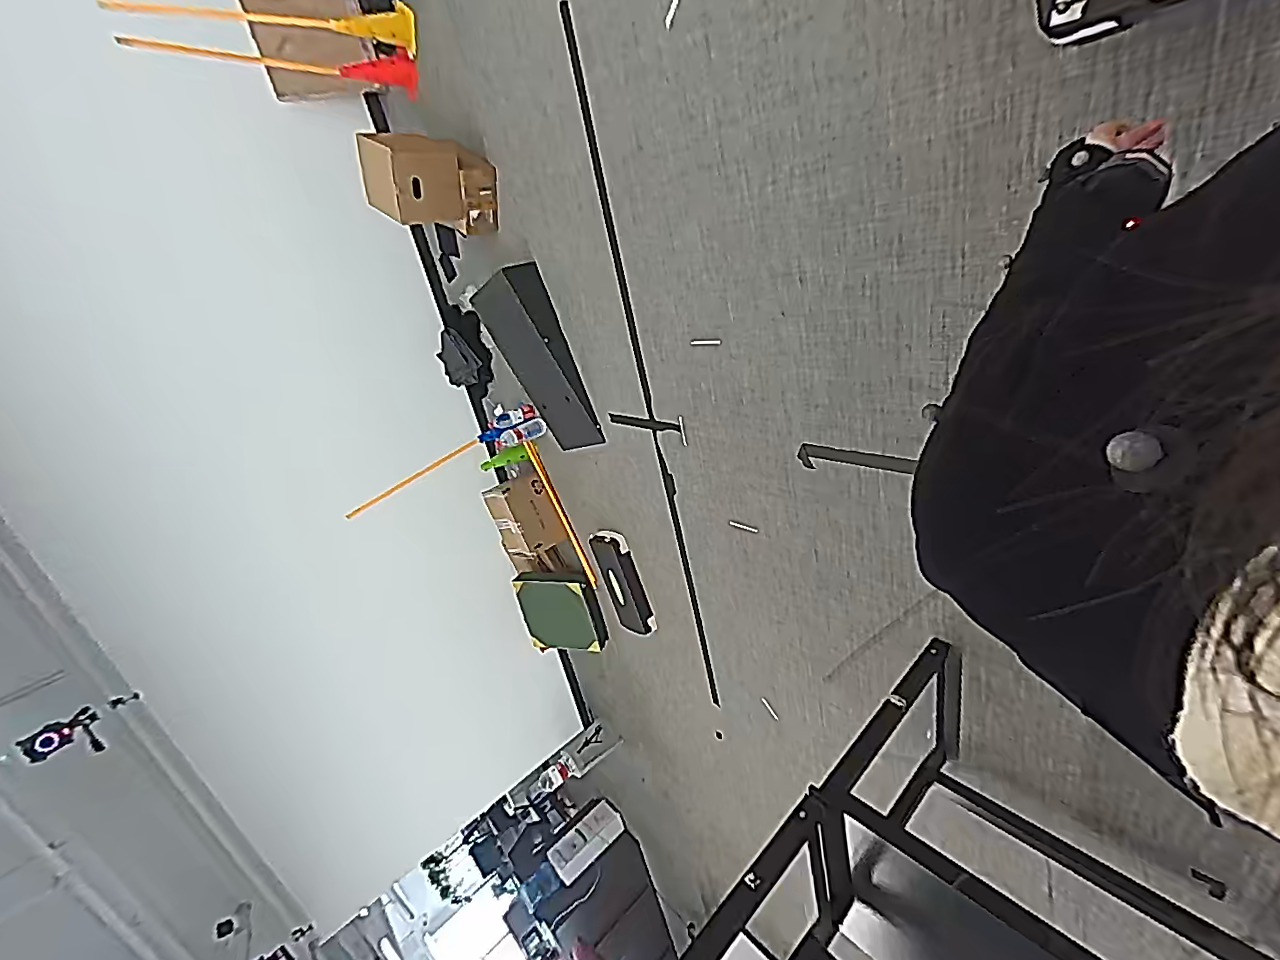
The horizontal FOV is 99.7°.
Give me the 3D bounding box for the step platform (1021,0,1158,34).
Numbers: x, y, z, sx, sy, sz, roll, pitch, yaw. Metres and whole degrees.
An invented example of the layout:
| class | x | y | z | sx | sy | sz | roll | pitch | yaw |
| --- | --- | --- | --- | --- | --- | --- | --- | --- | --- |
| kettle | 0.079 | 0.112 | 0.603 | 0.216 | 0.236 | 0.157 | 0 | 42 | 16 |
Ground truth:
| class | x | y | z | sx | sy | sz | roll | pitch | yaw |
| --- | --- | --- | --- | --- | --- | --- | --- | --- | --- |
| step platform | 0.919 | -0.854 | 0.707 | 0.684 | 0.204 | 0.286 | 23 | 132 | 45 |
